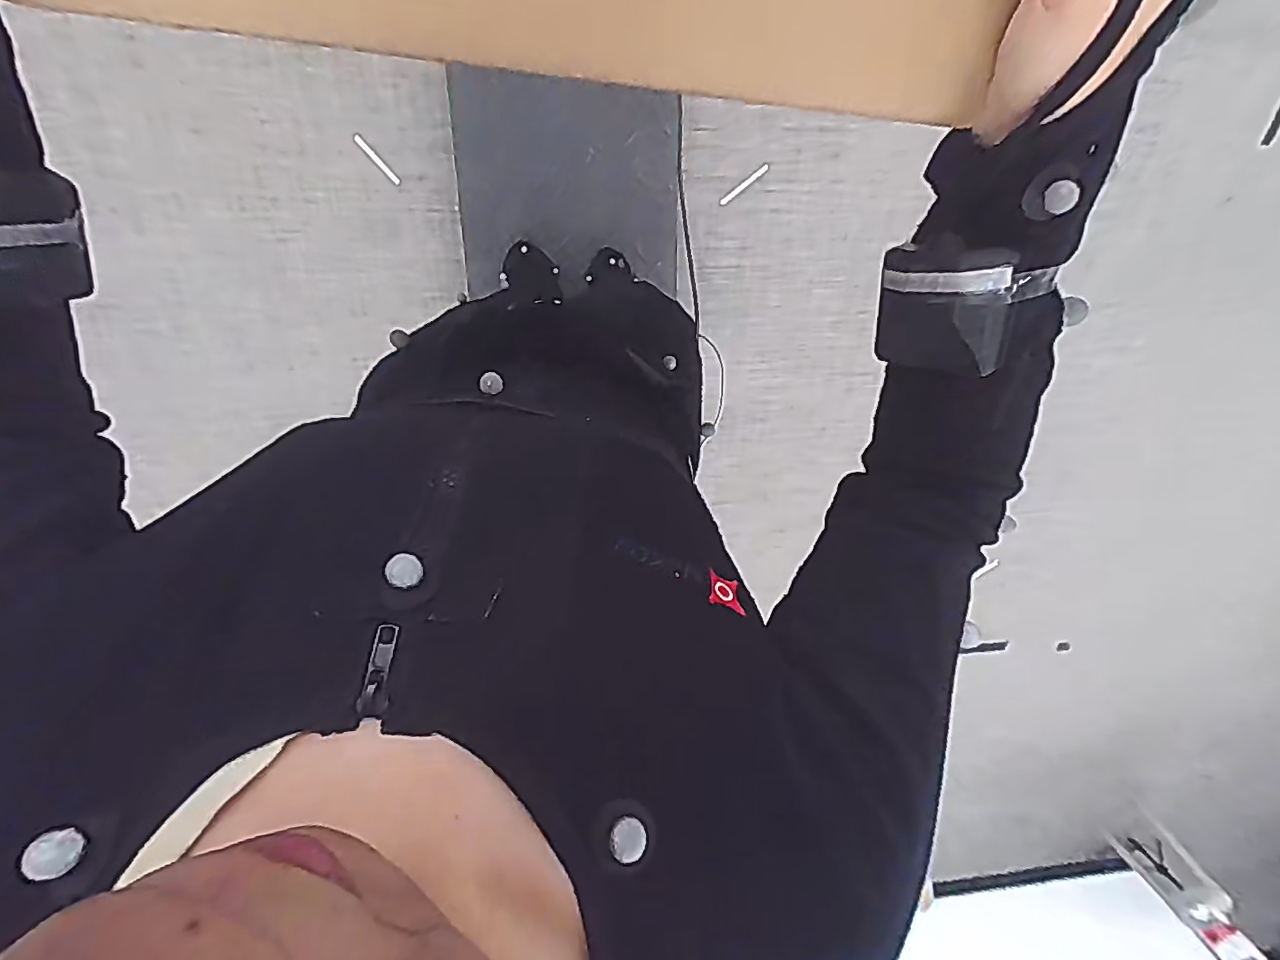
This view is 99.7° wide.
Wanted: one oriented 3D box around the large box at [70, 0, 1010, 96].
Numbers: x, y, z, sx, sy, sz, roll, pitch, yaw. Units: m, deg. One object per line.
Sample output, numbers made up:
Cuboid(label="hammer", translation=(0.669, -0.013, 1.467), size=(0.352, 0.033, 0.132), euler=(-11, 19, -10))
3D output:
Cuboid(label="large box", translation=(-0.039, -0.395, 0.225), size=(0.408, 0.320, 0.320), euler=(3, 136, -6))
